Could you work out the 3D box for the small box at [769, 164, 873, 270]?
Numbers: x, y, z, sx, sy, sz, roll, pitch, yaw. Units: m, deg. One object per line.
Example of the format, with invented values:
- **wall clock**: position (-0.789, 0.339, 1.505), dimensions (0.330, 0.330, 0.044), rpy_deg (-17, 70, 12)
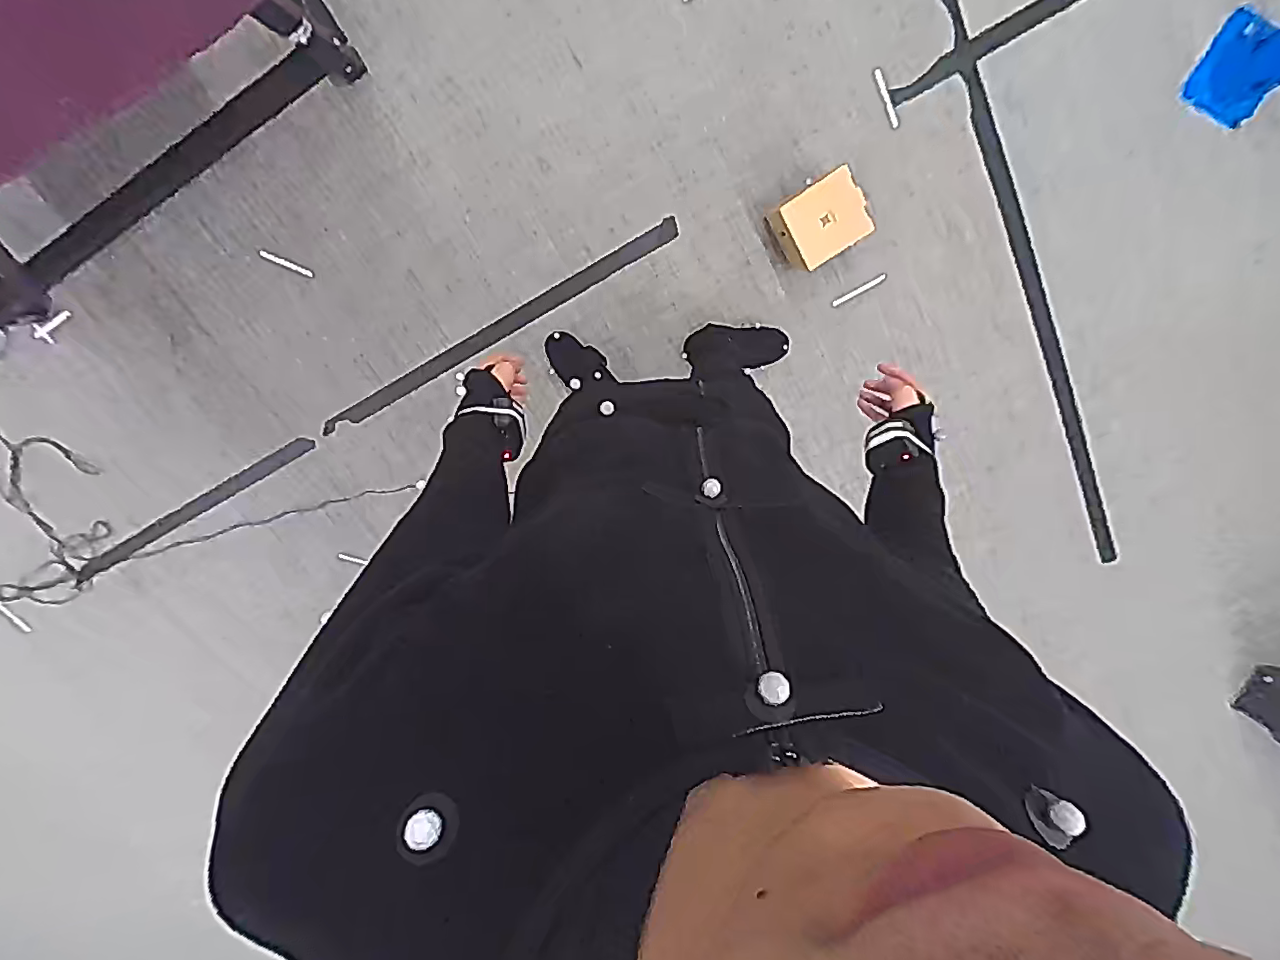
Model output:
- **small box**: position (0.438, -0.641, 1.342), dimensions (0.179, 0.176, 0.168), rpy_deg (-32, 109, 11)
